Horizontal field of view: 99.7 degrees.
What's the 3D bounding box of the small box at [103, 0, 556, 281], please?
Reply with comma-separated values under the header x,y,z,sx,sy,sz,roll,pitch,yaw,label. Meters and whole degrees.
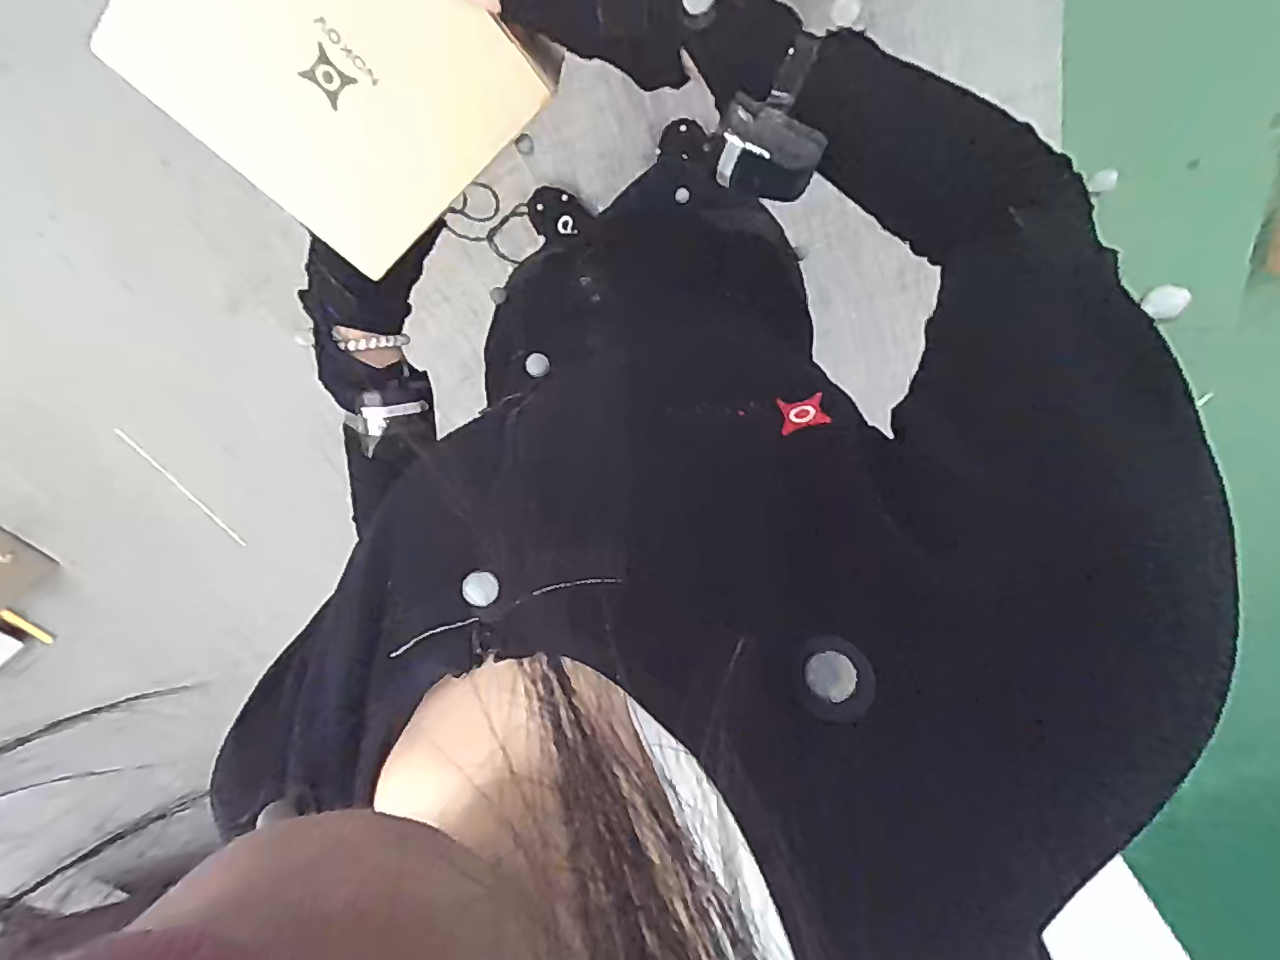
x,y,z,sx,sy,sz,roll,pitch,yaw,label
-0.167,-0.274,0.348,0.179,0.176,0.168,-31,131,23,small box
